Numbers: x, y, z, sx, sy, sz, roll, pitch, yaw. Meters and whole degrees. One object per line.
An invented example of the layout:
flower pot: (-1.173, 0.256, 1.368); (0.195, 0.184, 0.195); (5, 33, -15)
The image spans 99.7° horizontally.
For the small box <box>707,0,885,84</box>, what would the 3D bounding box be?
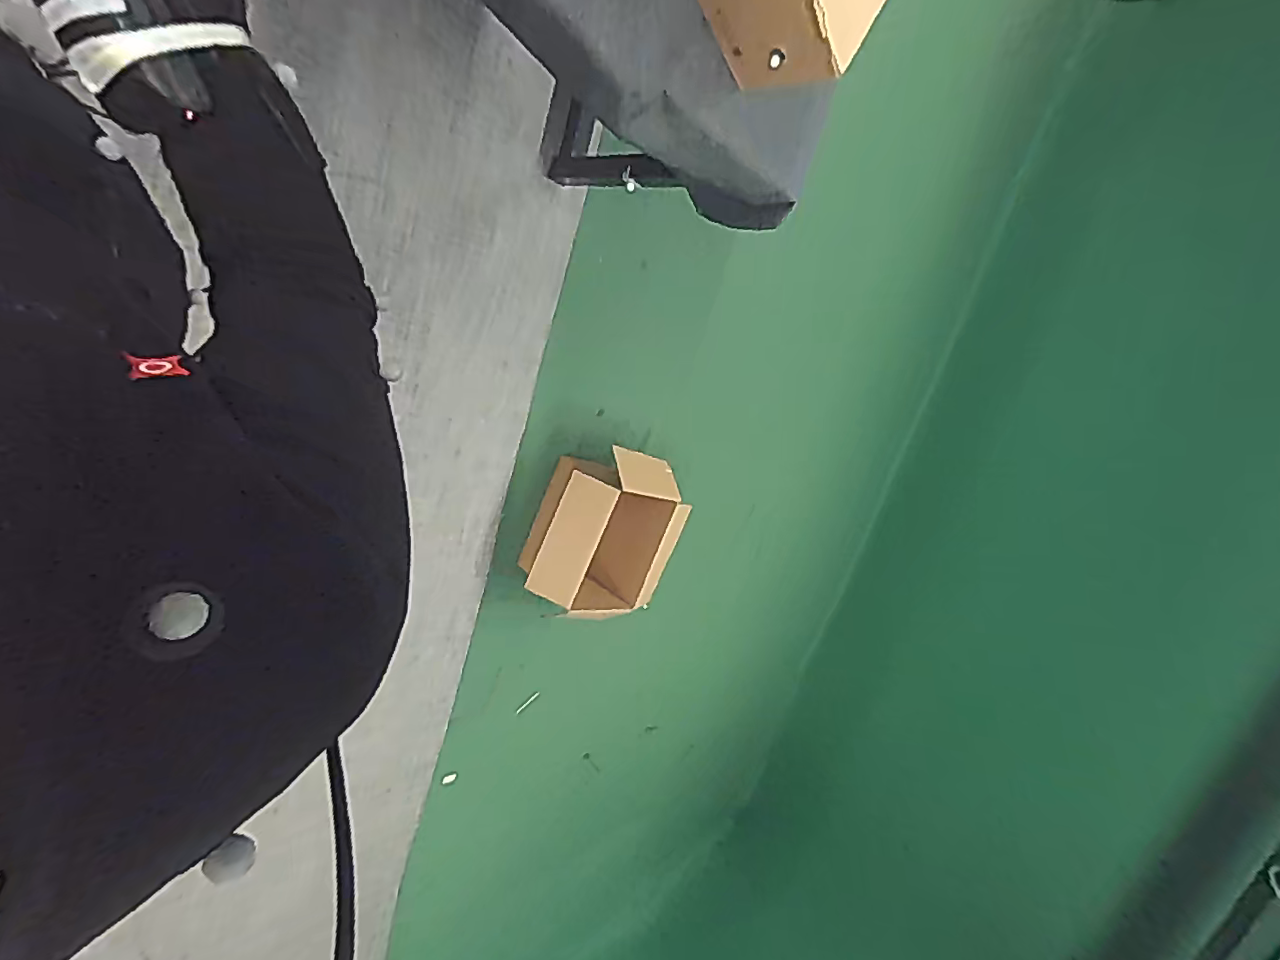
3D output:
small box: (0.200, -0.648, 0.687); (0.168, 0.176, 0.179); (31, 87, -51)
